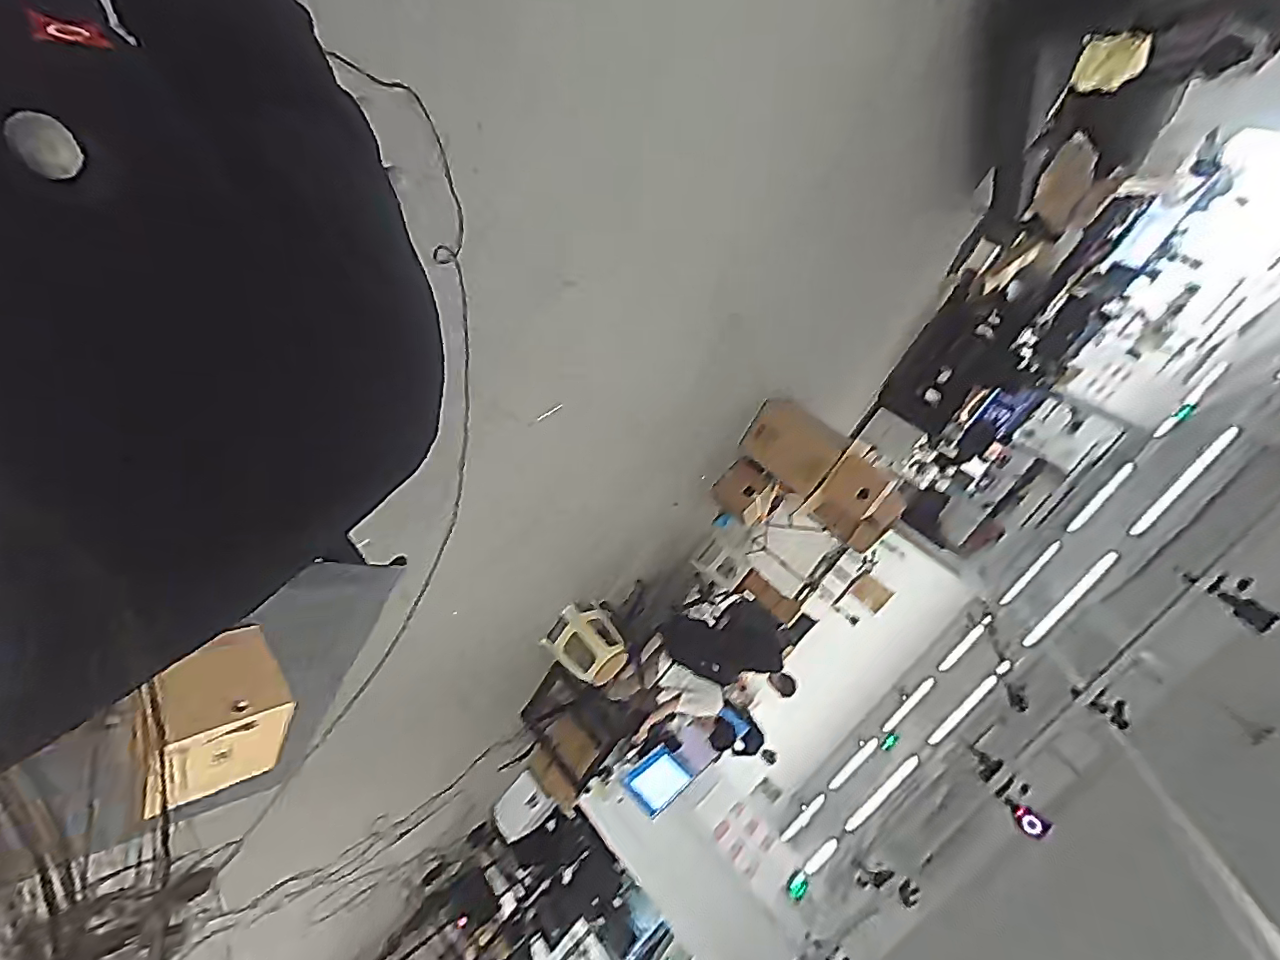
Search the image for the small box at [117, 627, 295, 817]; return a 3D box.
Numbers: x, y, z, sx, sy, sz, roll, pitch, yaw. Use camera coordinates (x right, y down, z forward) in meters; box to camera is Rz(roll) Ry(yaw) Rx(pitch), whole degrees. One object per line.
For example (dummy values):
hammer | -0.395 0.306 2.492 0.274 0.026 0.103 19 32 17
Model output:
small box | -0.674 0.361 0.836 0.168 0.176 0.179 -7 133 -55
